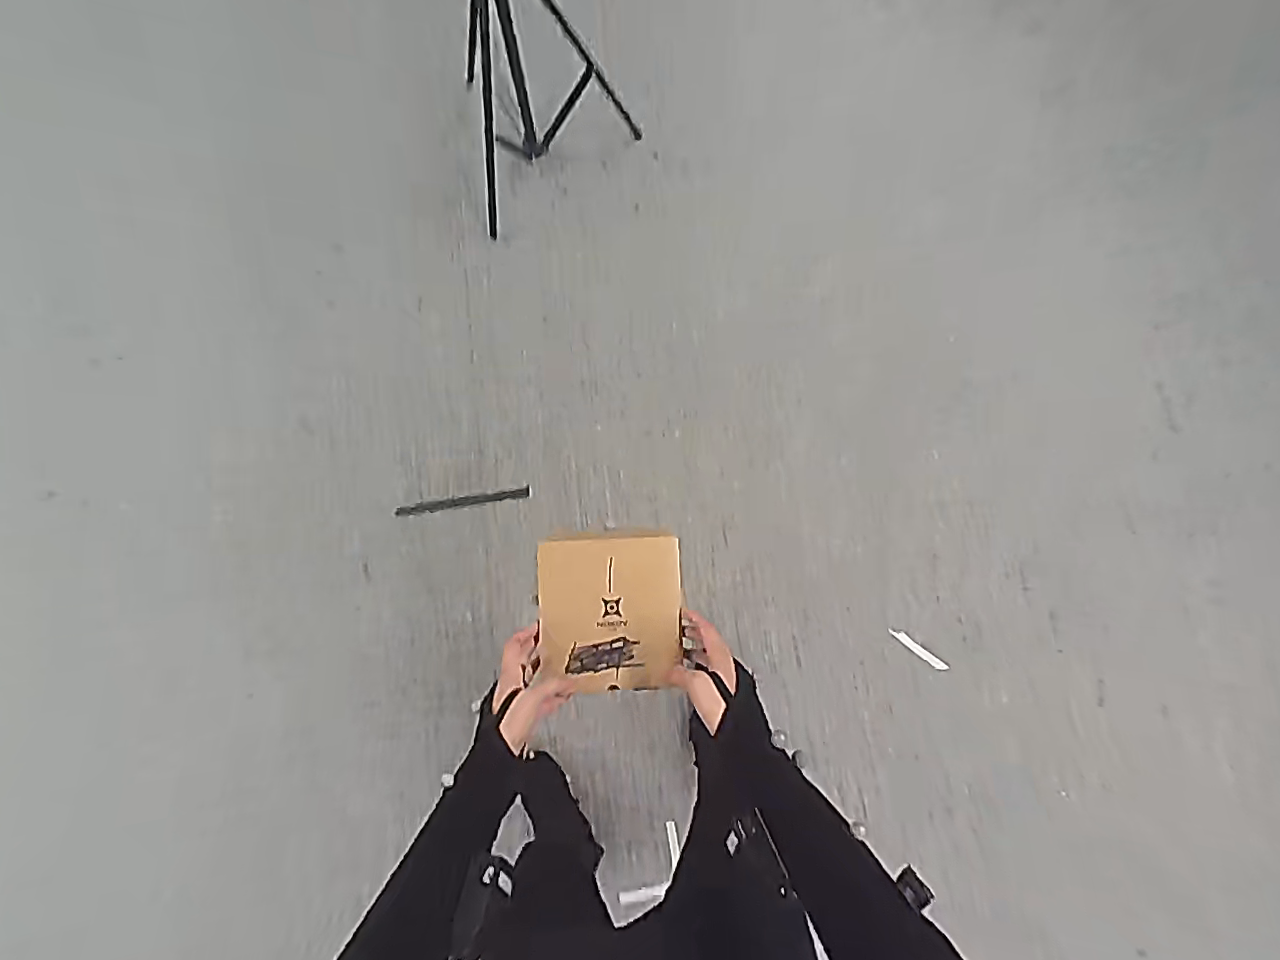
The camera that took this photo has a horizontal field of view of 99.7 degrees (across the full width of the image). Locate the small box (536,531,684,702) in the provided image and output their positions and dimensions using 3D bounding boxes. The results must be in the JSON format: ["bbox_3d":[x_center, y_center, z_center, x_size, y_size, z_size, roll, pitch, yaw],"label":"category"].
[{"bbox_3d":[-0.039,0.159,0.681,0.168,0.176,0.179,-2,87,-6],"label":"small box"}]
